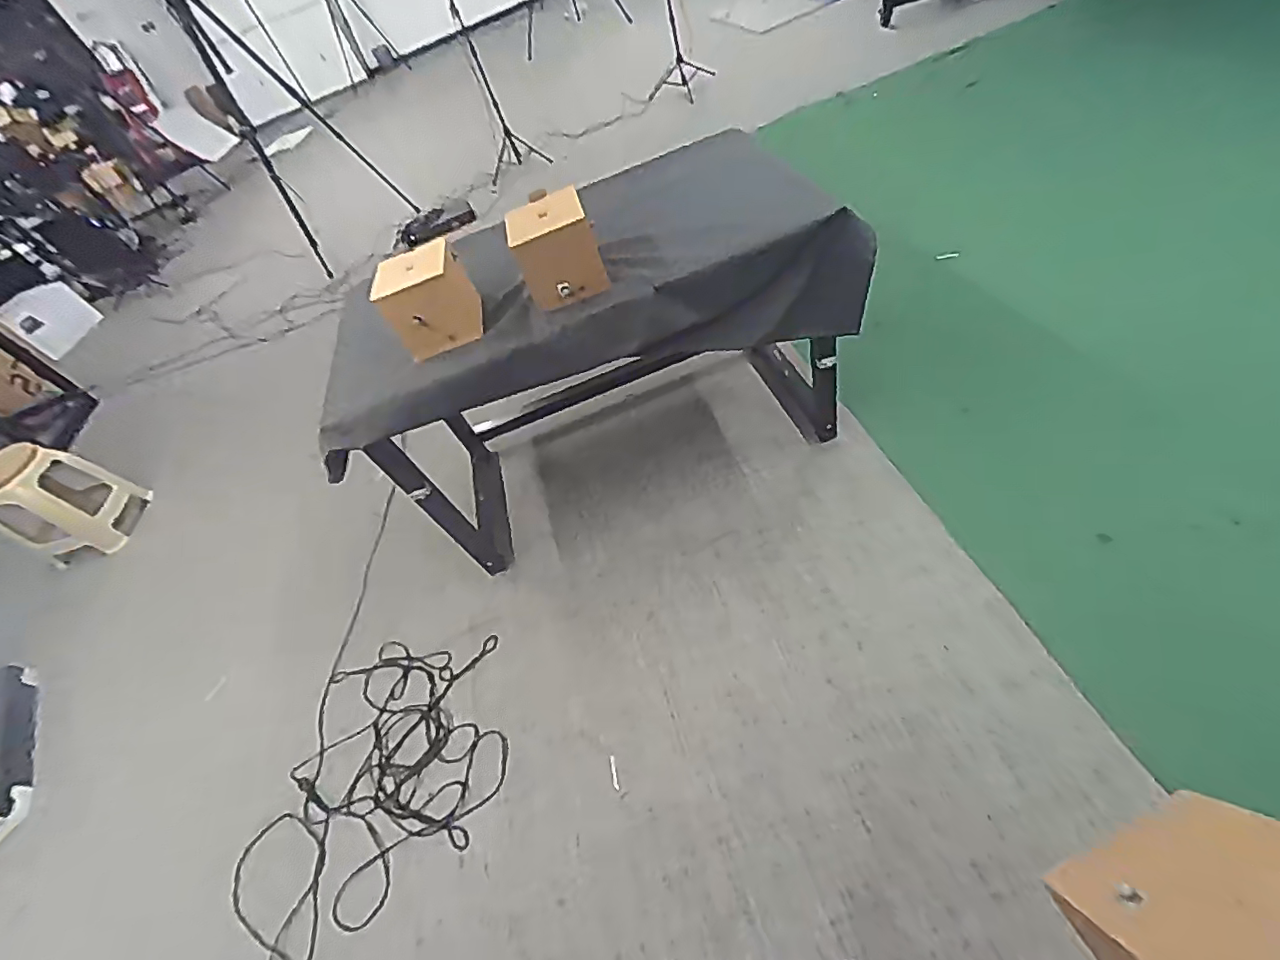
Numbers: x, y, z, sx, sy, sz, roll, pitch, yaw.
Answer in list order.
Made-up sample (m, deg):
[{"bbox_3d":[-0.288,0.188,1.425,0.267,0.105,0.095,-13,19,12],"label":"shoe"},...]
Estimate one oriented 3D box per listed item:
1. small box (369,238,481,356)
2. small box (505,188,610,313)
[{"bbox_3d":[-0.467,-0.396,1.200,0.168,0.176,0.179,-20,47,3],"label":"small box"},{"bbox_3d":[-0.179,-0.497,1.180,0.168,0.176,0.179,-21,49,4],"label":"small box"}]
